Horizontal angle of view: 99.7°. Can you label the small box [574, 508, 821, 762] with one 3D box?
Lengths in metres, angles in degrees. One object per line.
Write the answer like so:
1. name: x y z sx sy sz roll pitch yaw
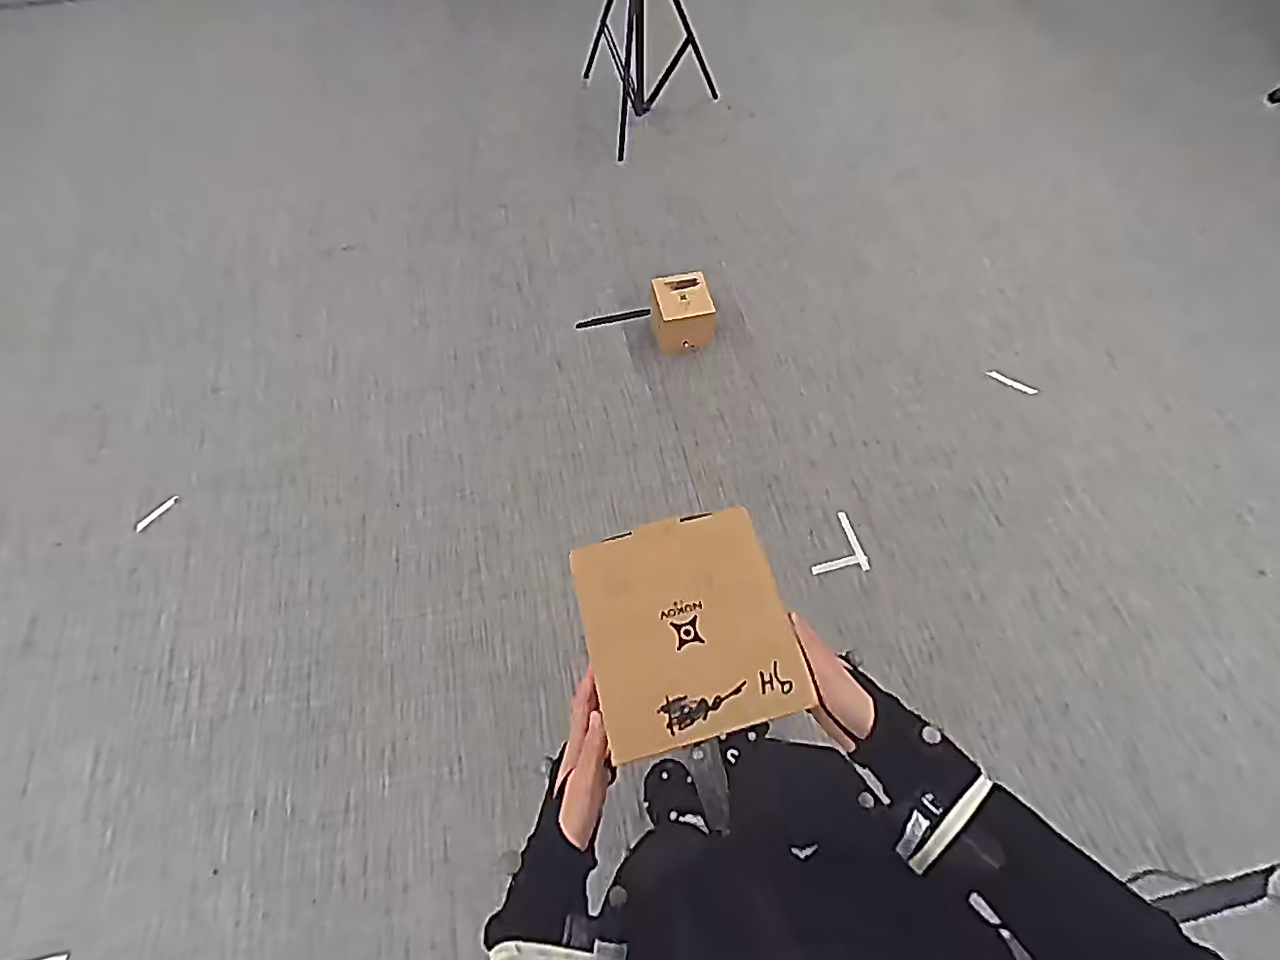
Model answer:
1. small box: 0.041 0.152 0.512 0.168 0.176 0.179 -14 65 -5
